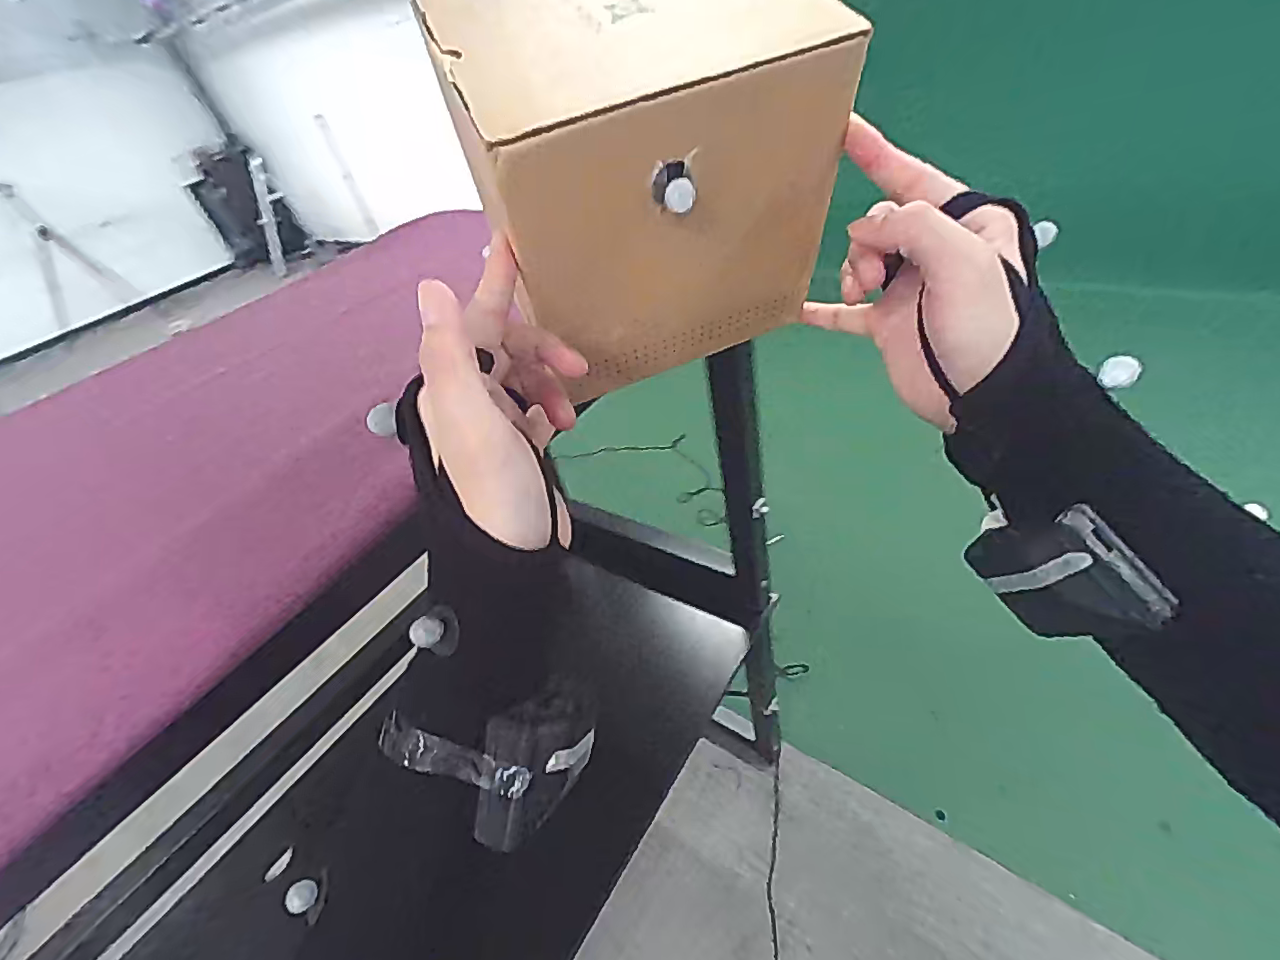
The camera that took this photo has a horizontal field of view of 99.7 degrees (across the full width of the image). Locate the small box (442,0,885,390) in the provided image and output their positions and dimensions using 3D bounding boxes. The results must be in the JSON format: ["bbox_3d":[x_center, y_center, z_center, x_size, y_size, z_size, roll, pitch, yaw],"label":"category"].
[{"bbox_3d":[0.007,-0.187,0.334,0.179,0.176,0.168,-22,61,-6],"label":"small box"}]
